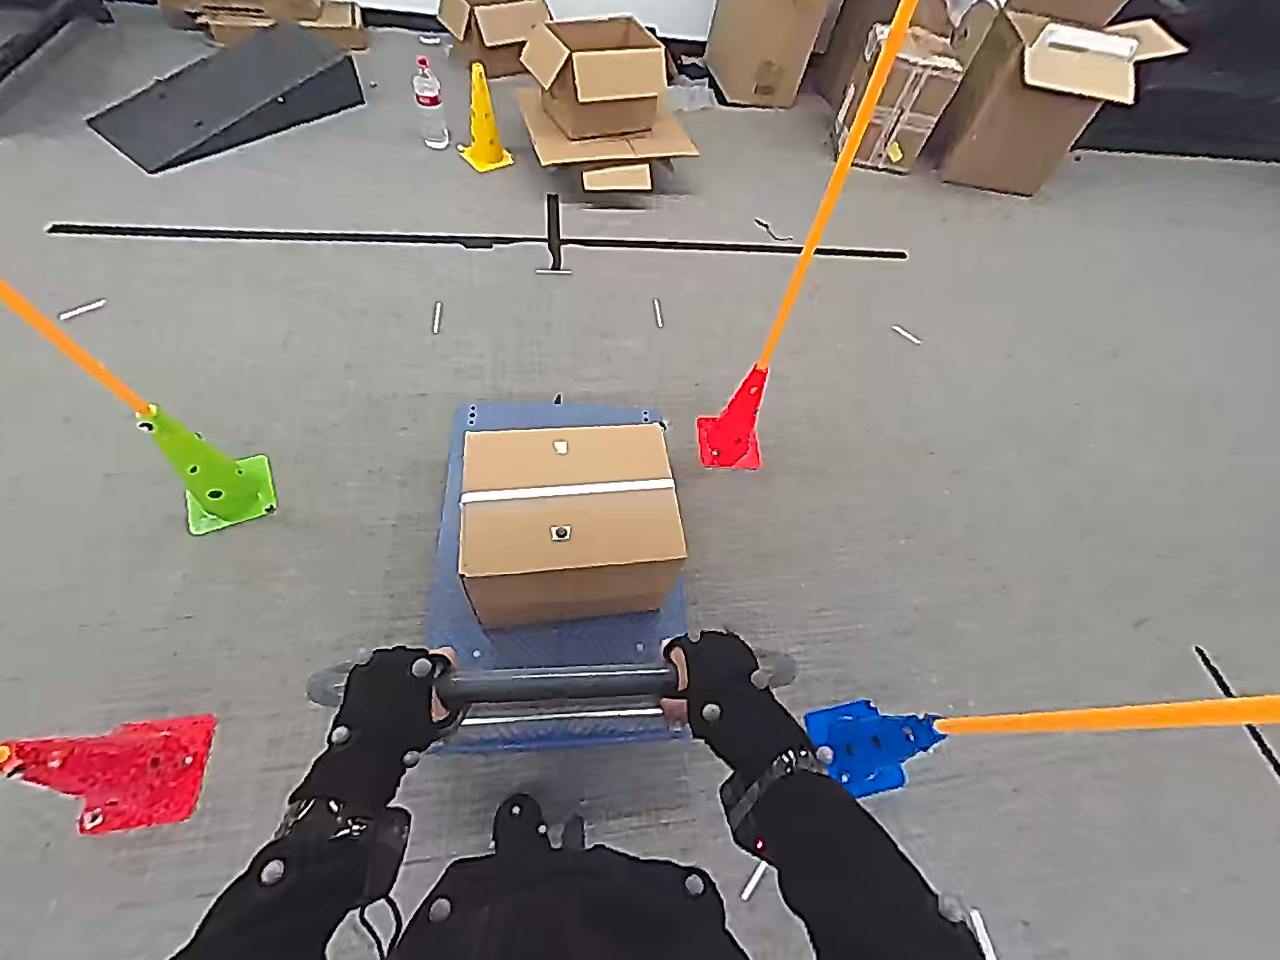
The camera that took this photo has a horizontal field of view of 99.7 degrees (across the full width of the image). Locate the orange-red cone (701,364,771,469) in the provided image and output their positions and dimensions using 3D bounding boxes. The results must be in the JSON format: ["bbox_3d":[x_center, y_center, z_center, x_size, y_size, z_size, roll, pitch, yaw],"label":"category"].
[{"bbox_3d":[0.318,-0.212,1.612,0.199,0.360,0.198,4,58,-7],"label":"orange-red cone"}]

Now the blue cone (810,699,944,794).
[{"bbox_3d":[0.545,0.557,1.179,0.193,0.380,0.192,-5,58,-12],"label":"blue cone"}]
